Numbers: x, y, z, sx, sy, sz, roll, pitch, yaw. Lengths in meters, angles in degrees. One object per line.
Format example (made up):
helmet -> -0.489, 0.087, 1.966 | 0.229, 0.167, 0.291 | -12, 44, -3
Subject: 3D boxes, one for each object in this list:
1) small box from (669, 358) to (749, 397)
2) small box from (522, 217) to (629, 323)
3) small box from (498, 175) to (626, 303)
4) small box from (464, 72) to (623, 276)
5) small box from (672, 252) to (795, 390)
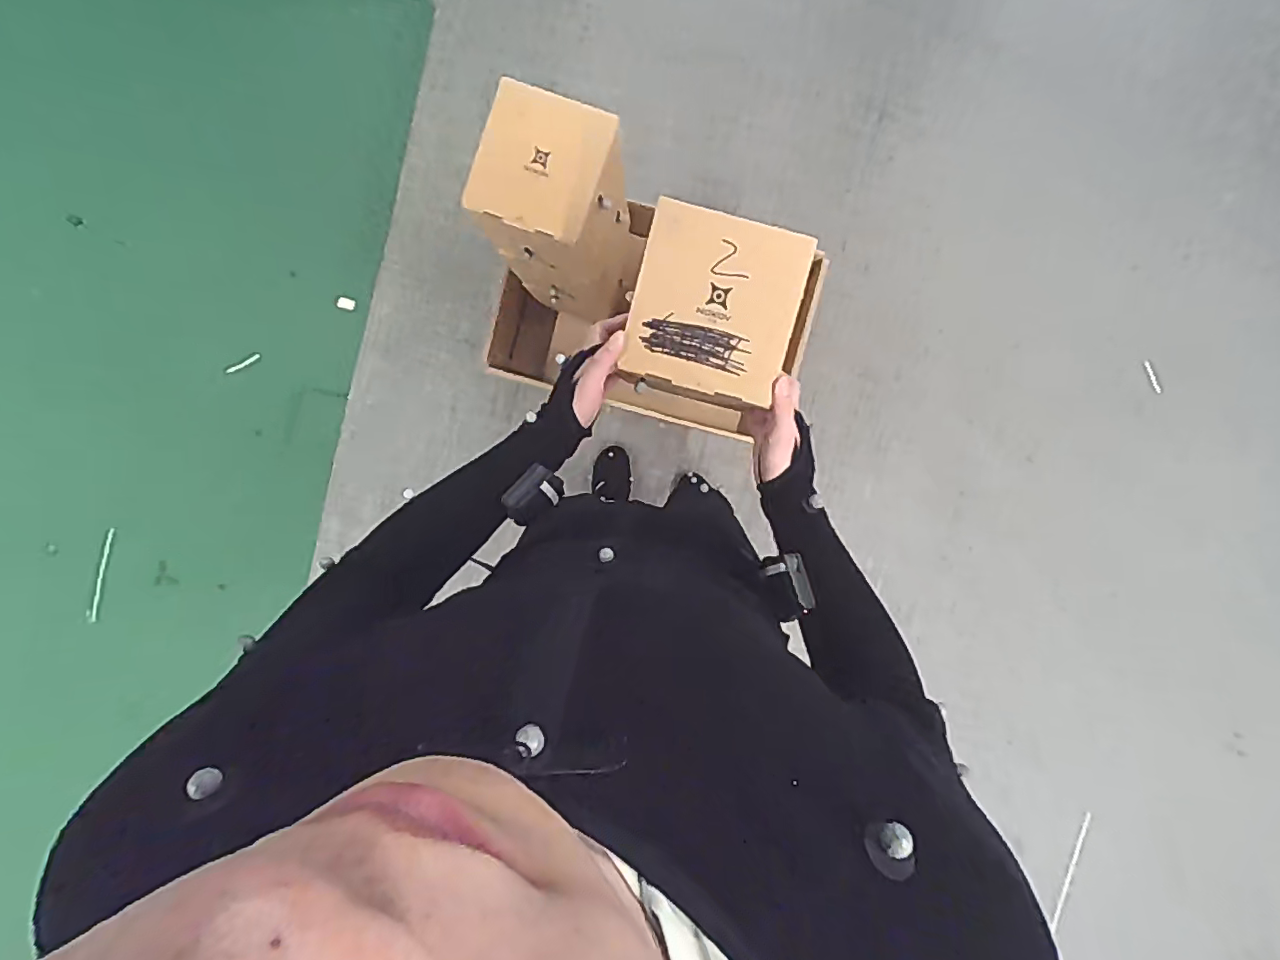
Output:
small box -> 0.159, -0.278, 1.113 | 0.168, 0.176, 0.179 | 14, 93, 0
small box -> -0.124, -0.447, 1.111 | 0.168, 0.176, 0.179 | 17, 93, 0
small box -> -0.126, -0.438, 0.948 | 0.168, 0.176, 0.179 | 19, 94, 1
small box -> -0.127, -0.427, 0.786 | 0.168, 0.176, 0.179 | 20, 95, 0
small box -> 0.153, -0.267, 0.950 | 0.168, 0.176, 0.179 | 14, 94, 1
